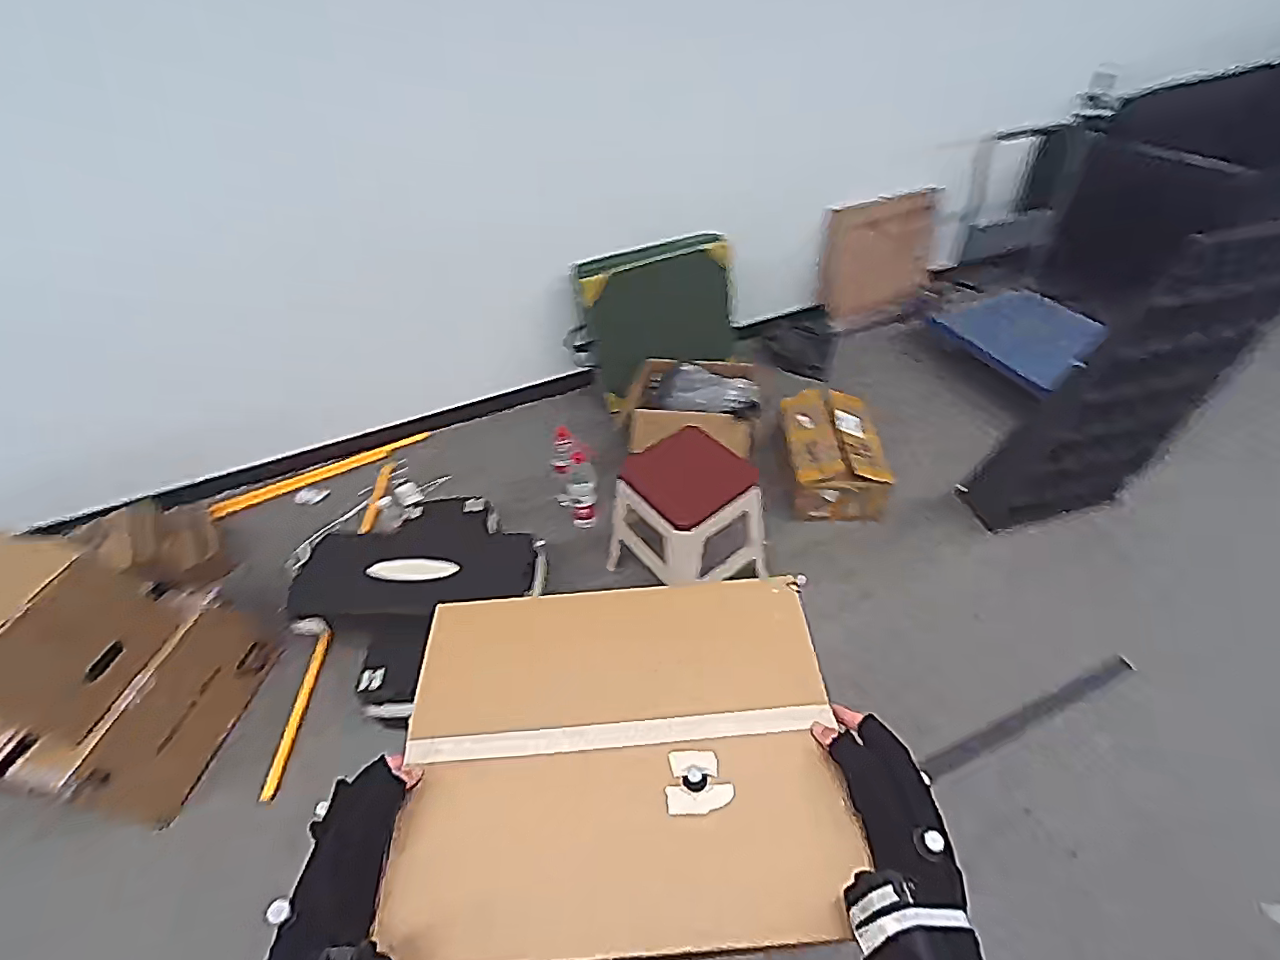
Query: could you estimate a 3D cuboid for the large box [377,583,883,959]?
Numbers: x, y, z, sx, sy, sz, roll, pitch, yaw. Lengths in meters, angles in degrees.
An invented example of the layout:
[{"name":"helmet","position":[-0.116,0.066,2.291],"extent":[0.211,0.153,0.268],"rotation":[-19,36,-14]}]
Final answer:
[{"name":"large box","position":[-0.009,0.344,0.625],"extent":[0.408,0.320,0.320],"rotation":[-3,48,1]}]
